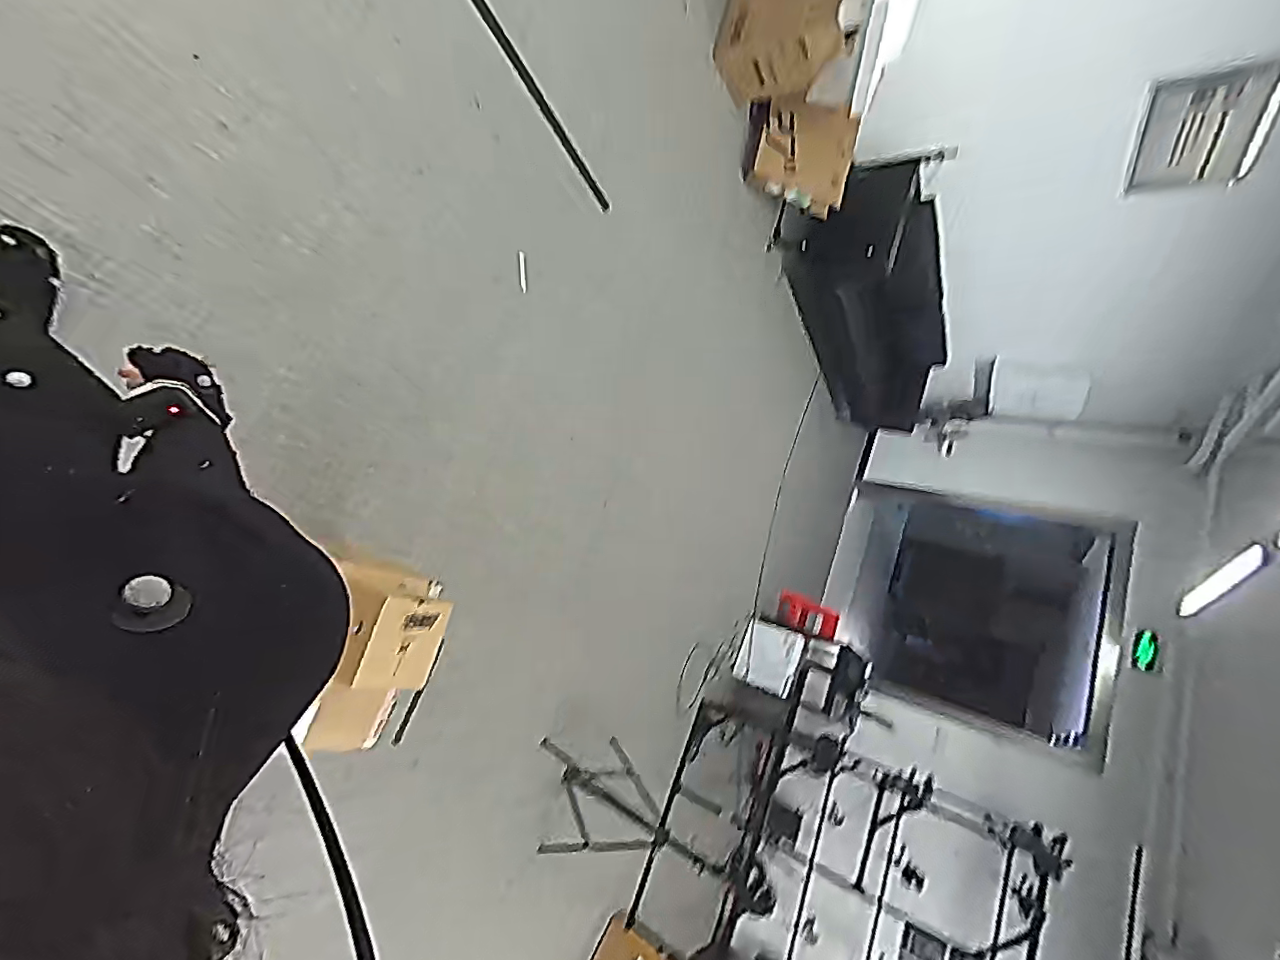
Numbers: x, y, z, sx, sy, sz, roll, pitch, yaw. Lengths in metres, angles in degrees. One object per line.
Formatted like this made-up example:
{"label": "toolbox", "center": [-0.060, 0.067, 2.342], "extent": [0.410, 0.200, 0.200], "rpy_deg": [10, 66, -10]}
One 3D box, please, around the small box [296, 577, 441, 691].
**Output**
{"label": "small box", "center": [-0.542, 0.305, 1.079], "extent": [0.168, 0.176, 0.179], "rpy_deg": [36, 69, -56]}
